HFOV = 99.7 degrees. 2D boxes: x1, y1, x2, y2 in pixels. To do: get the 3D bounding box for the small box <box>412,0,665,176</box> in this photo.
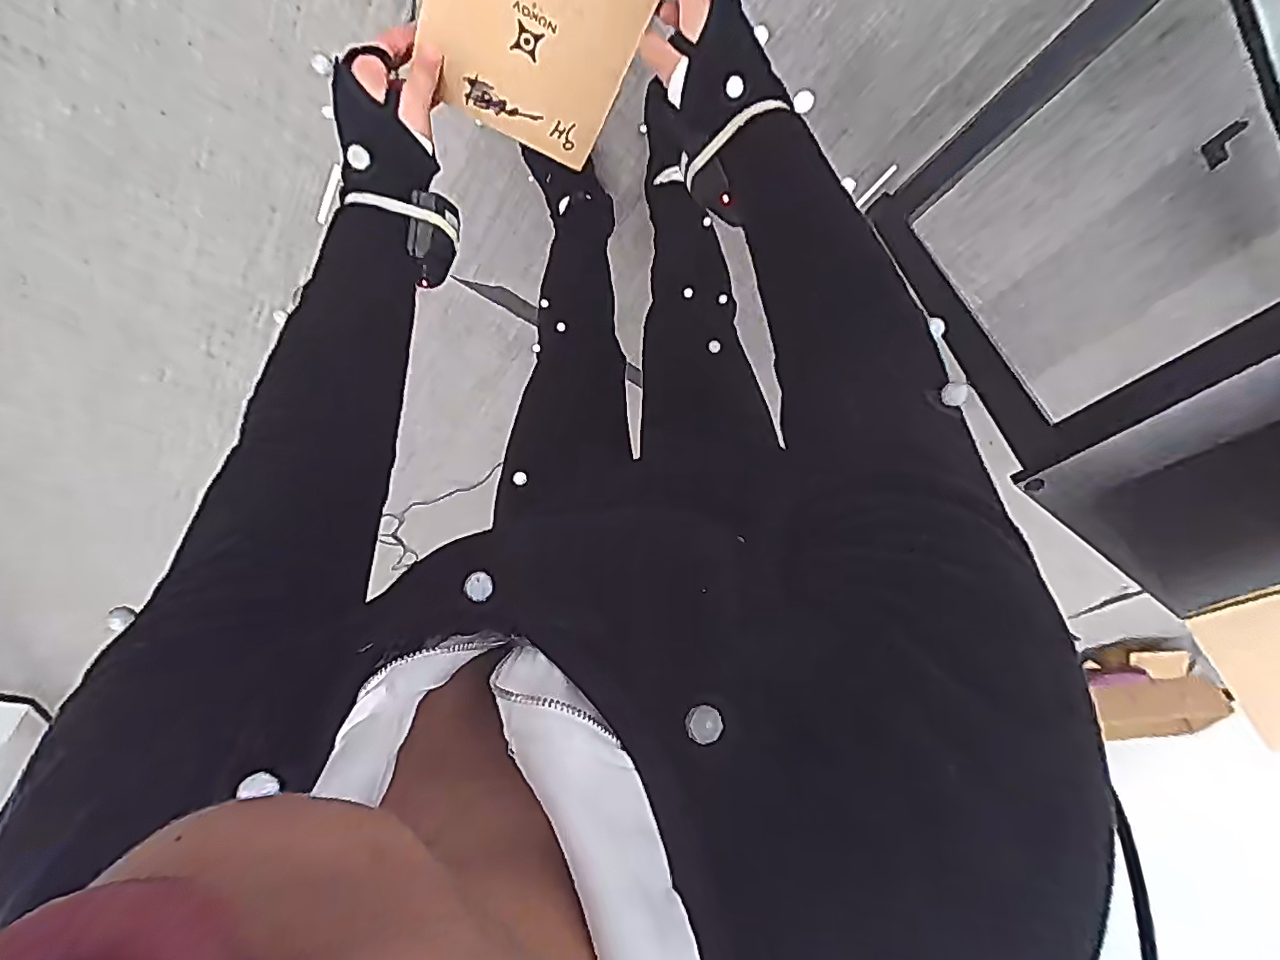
[{"bbox_3d":[-0.091,-0.429,0.484,0.168,0.176,0.179,15,142,-26],"label":"small box"}]
